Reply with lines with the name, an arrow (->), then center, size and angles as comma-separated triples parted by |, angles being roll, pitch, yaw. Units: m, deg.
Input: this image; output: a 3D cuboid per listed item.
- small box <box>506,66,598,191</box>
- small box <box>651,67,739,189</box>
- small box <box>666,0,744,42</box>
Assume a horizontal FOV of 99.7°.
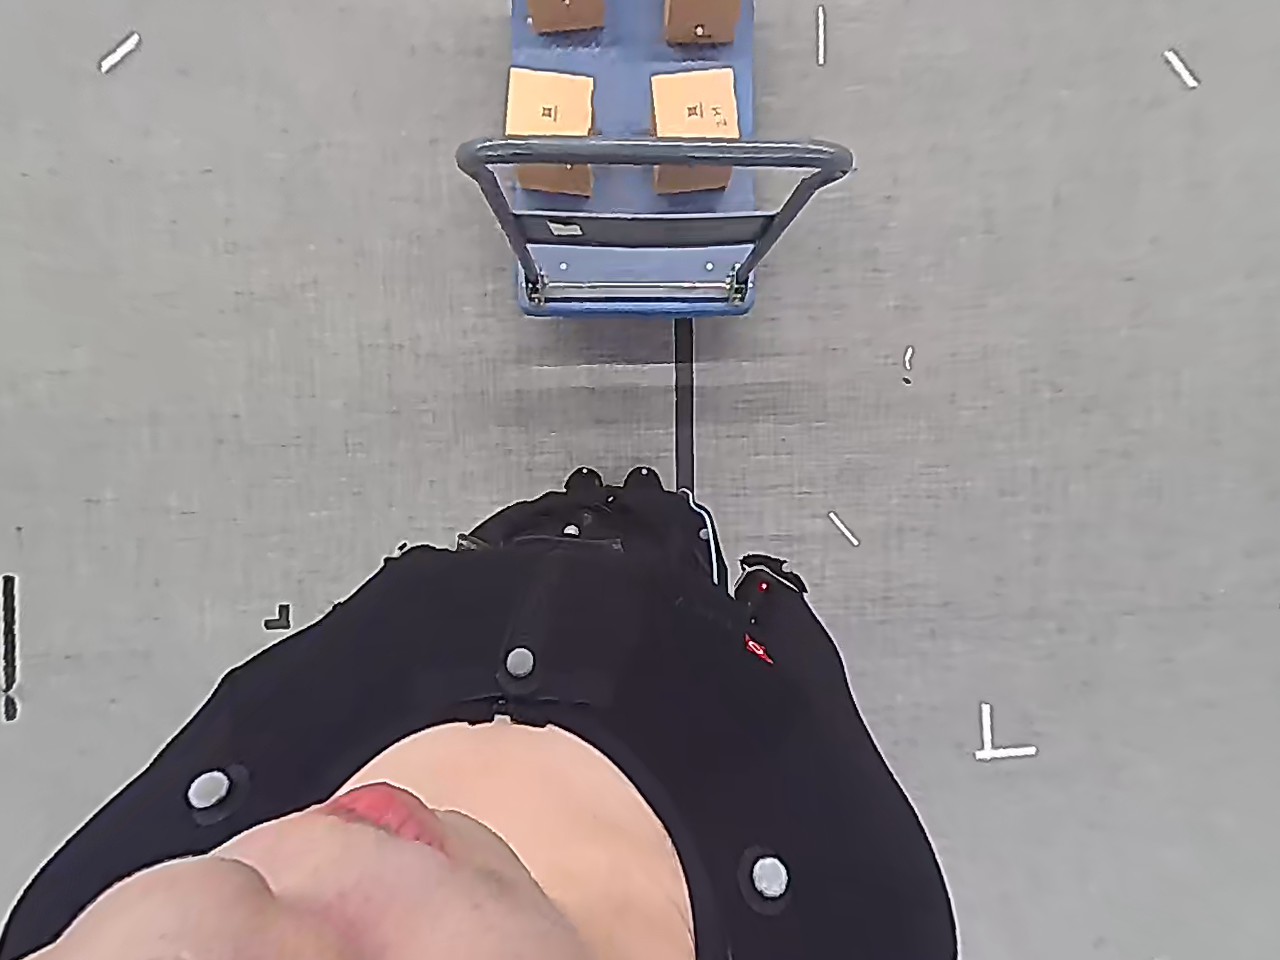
small box -> -0.190, -0.775, 1.208 | 0.179, 0.176, 0.168 | 5, 91, -3
small box -> 0.116, -0.780, 1.216 | 0.179, 0.176, 0.168 | -6, 92, -1
small box -> 0.145, -1.131, 1.205 | 0.168, 0.176, 0.179 | -1, 93, -1
